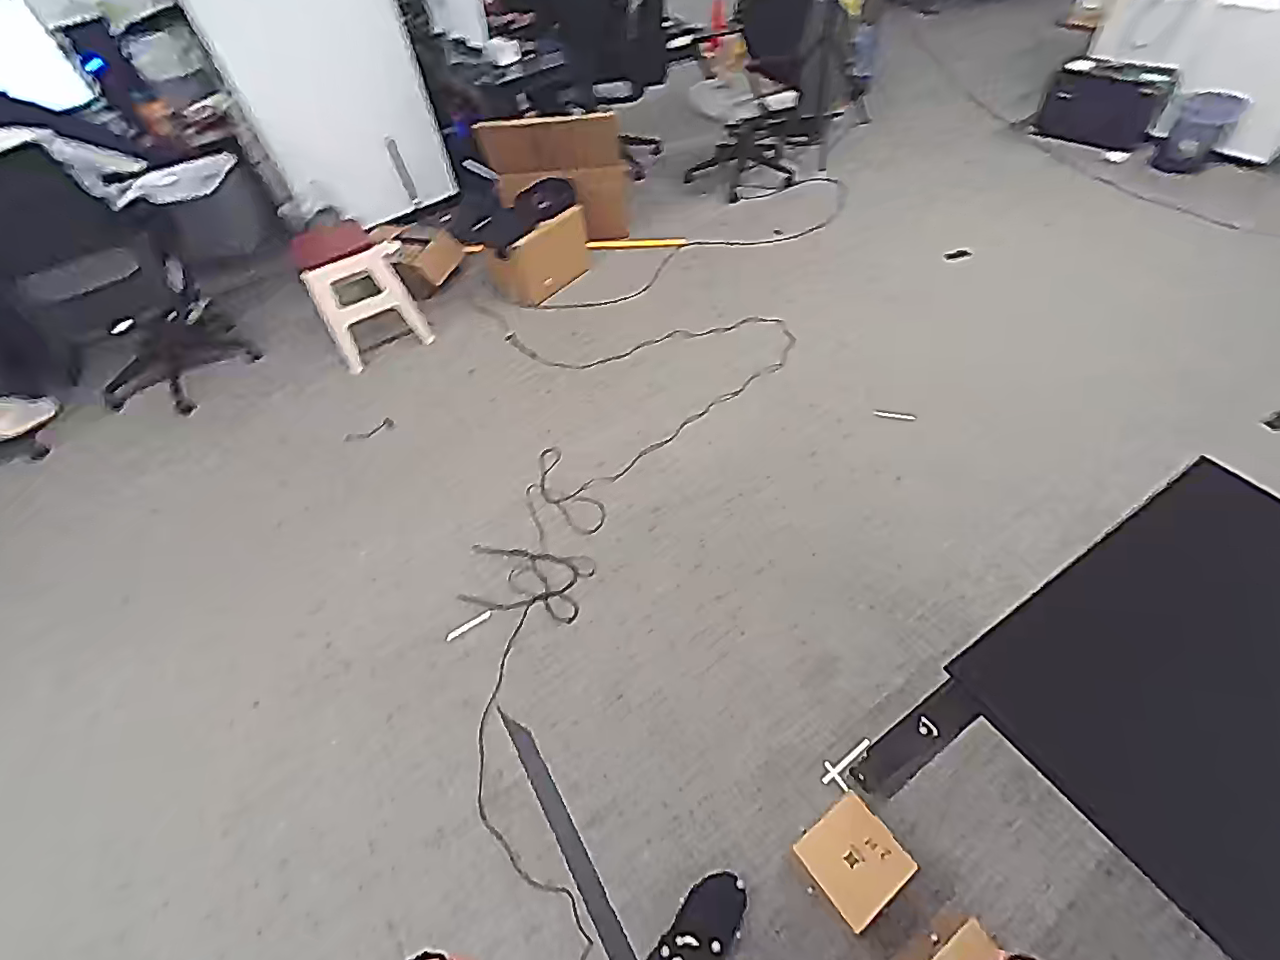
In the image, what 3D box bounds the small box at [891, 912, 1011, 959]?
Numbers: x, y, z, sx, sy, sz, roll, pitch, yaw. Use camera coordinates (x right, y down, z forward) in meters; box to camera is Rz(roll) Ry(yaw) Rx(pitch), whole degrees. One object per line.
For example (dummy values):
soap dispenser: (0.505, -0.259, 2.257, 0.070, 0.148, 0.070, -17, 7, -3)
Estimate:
small box: (0.587, 0.931, 0.988, 0.179, 0.176, 0.168, -31, 55, -15)
